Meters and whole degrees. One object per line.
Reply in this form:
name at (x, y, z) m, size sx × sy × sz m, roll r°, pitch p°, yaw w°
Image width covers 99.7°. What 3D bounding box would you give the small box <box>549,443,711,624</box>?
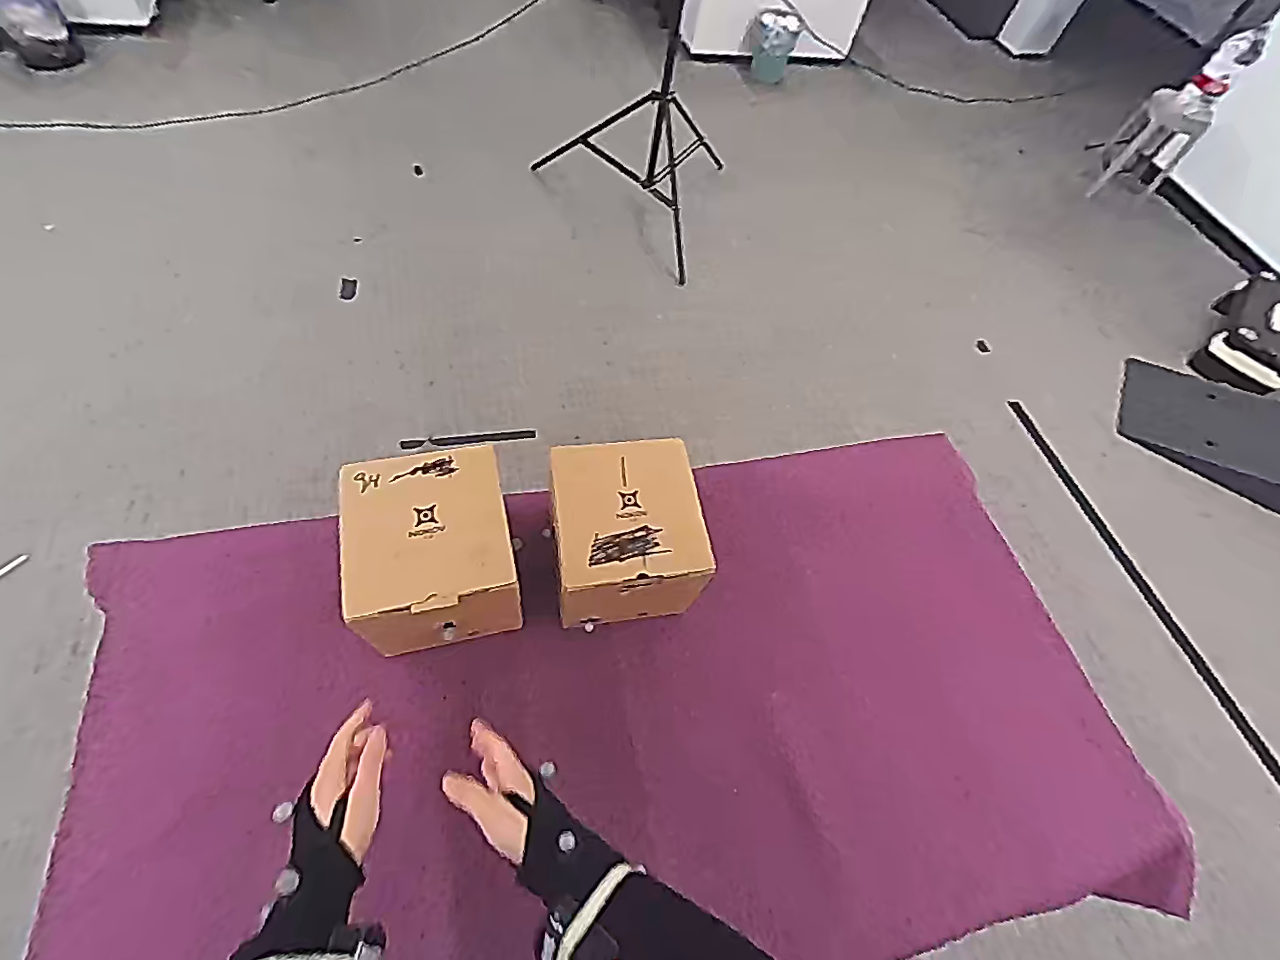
small box at (-0.024, 0.074, 0.682) m, size 0.168 × 0.176 × 0.179 m, roll -5°, pitch 61°, yaw -12°
